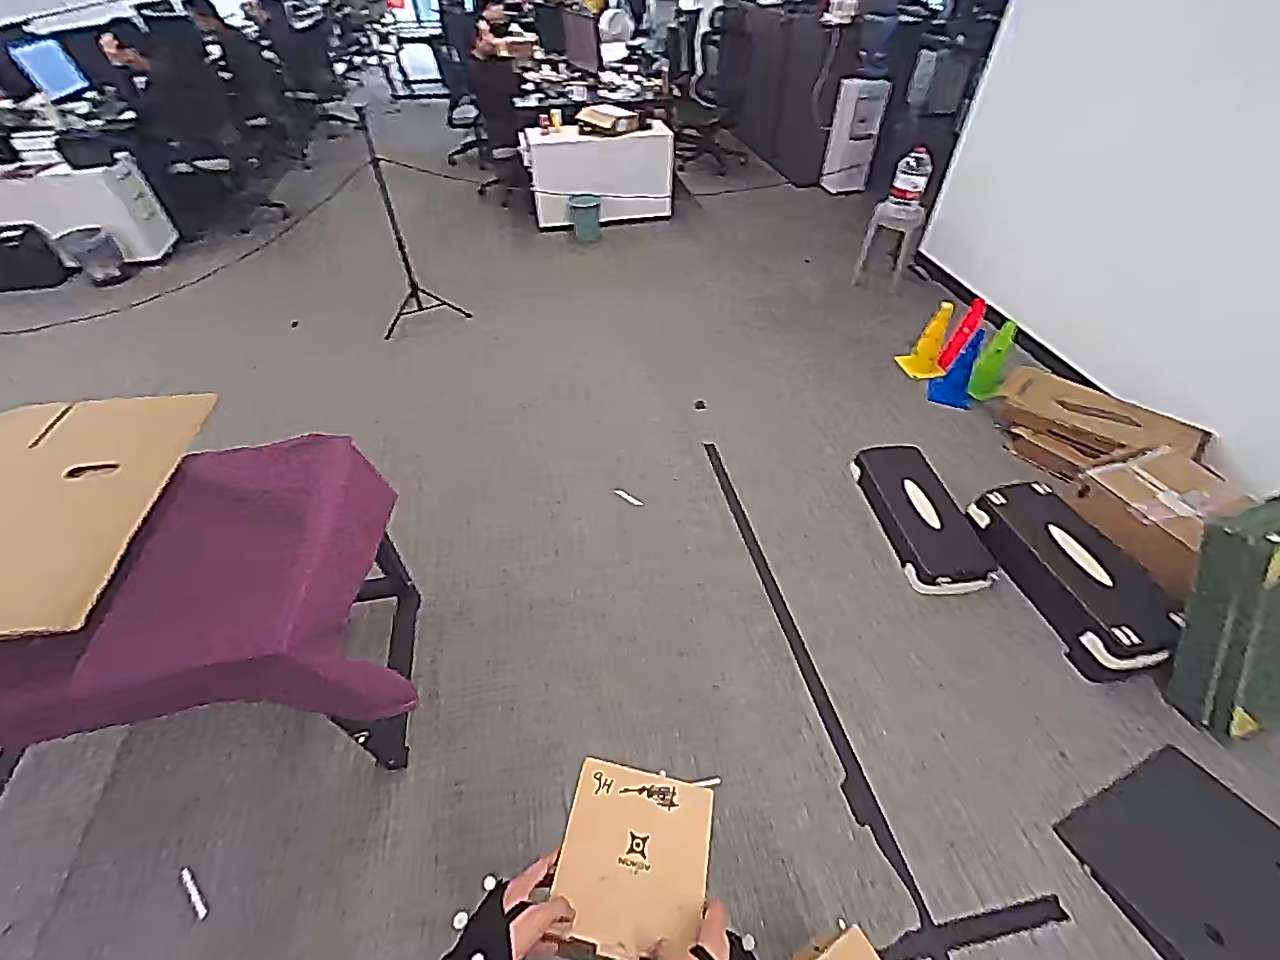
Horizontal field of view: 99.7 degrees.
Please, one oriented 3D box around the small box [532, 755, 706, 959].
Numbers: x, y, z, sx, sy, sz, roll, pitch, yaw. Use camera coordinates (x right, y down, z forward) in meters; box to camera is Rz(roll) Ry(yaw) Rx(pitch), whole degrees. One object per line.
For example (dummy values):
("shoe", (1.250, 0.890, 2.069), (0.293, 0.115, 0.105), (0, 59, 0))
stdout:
("small box", (-0.023, 0.475, 0.665), (0.168, 0.176, 0.179), (13, 44, 3))
